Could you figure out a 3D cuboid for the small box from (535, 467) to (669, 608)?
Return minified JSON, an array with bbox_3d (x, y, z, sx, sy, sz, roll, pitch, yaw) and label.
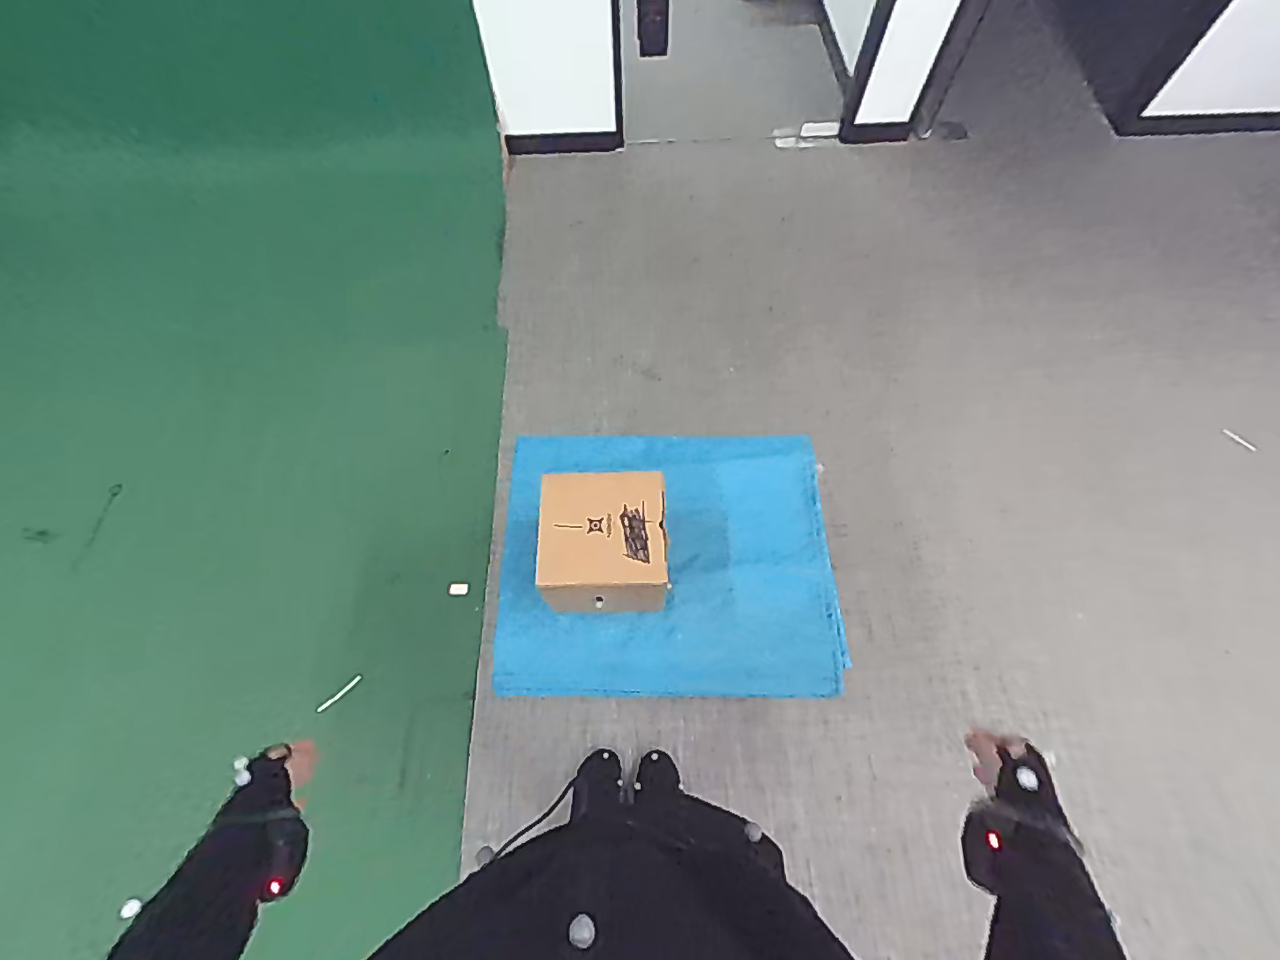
[{"bbox_3d":[-0.051,0.090,0.805,0.179,0.176,0.168,-1,64,0],"label":"small box"}]
